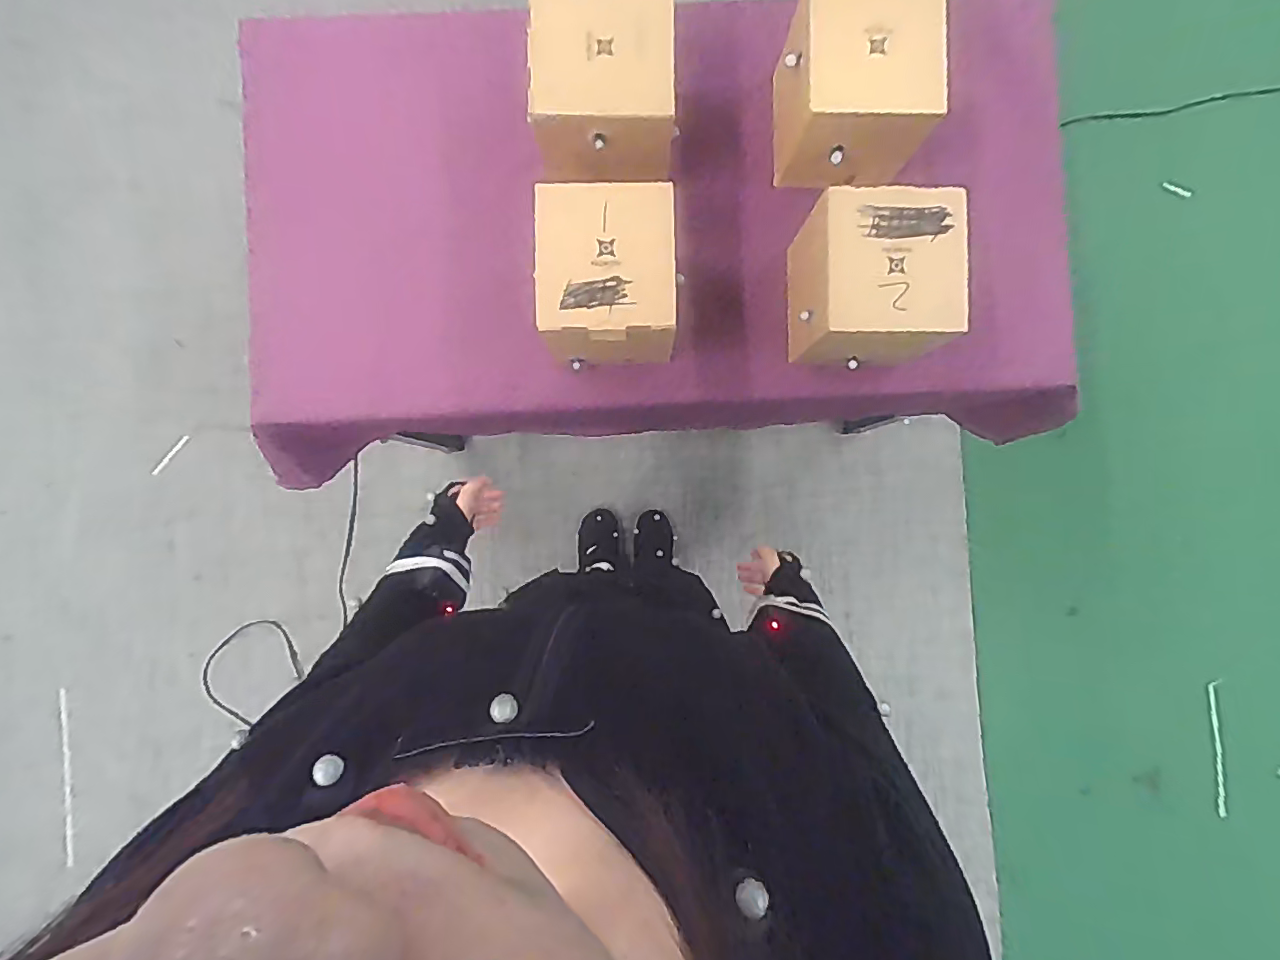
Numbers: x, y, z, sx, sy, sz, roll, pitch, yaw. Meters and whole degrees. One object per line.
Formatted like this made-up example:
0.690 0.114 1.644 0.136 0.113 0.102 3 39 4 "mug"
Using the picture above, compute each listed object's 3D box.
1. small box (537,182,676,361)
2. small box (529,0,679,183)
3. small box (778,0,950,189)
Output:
-0.038 -0.260 0.711 0.168 0.176 0.179 0 87 0 "small box"
-0.043 -0.509 0.721 0.179 0.176 0.168 1 89 -1 "small box"
0.286 -0.515 0.721 0.168 0.176 0.179 1 88 0 "small box"
